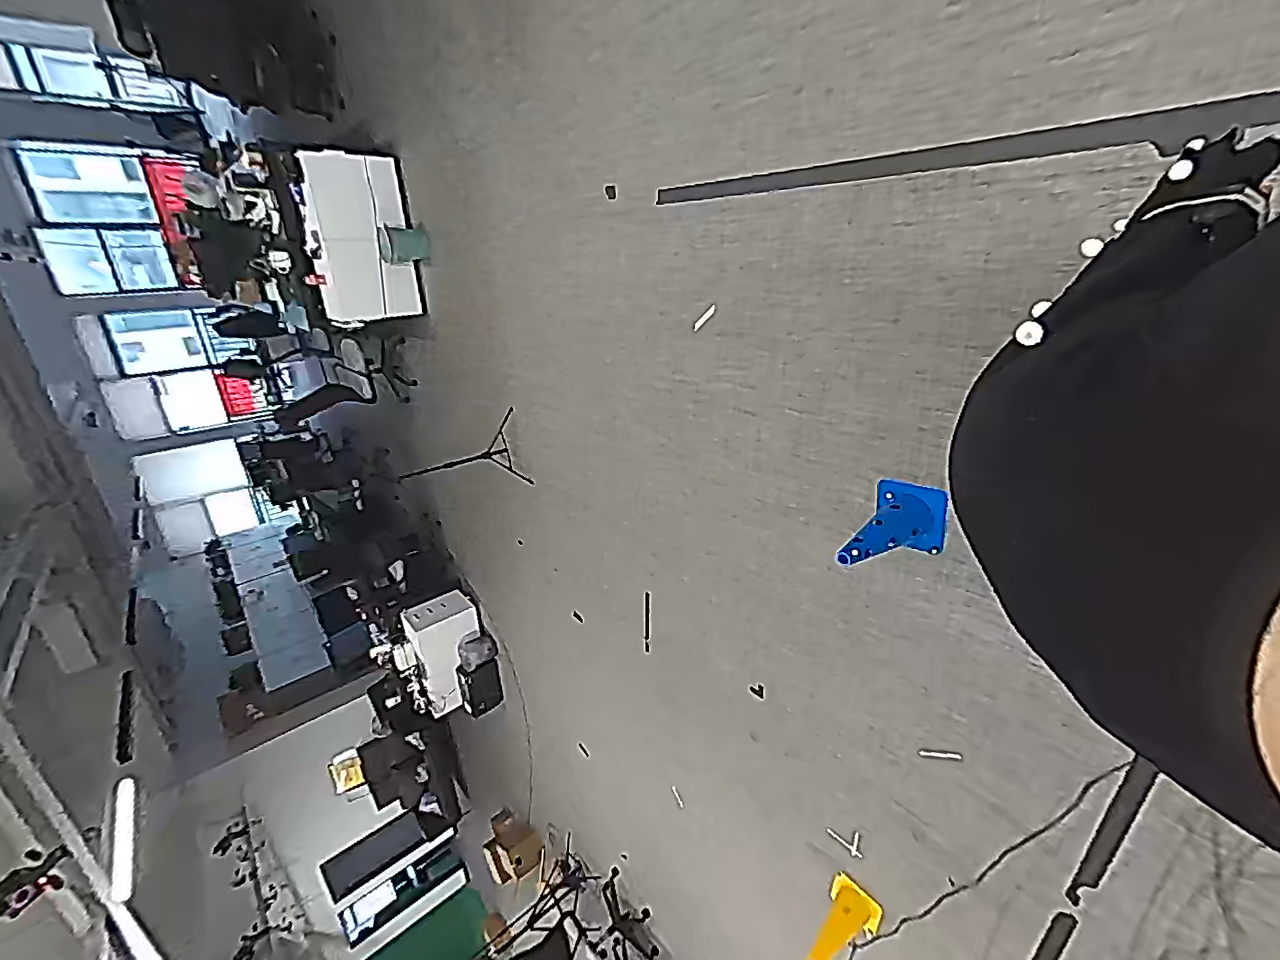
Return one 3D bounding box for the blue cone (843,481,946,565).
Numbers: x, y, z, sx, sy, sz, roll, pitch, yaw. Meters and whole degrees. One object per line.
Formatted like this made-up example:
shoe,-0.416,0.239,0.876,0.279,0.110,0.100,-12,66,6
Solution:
blue cone,0.659,0.146,1.475,0.192,0.380,0.193,18,119,47
